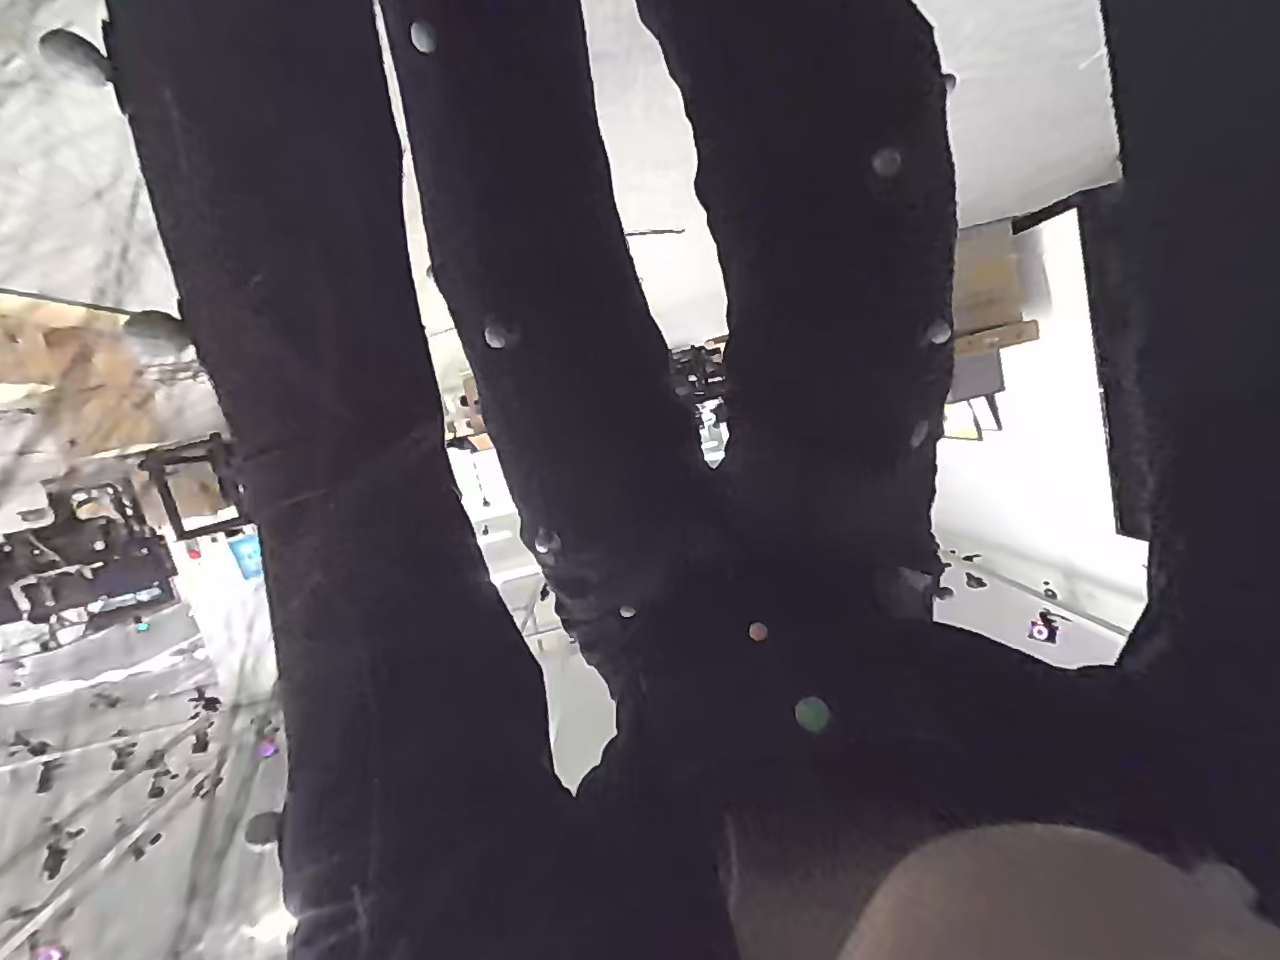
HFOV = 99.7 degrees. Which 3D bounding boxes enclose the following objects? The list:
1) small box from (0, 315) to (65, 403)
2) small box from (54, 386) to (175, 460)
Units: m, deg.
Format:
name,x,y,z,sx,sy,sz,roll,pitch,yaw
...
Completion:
name,x,y,z,sx,sy,sz,roll,pitch,yaw
small box,-1.555,-0.288,1.283,0.179,0.176,0.168,-15,-173,4
small box,-1.507,-0.164,1.549,0.179,0.176,0.168,-15,-171,-1
